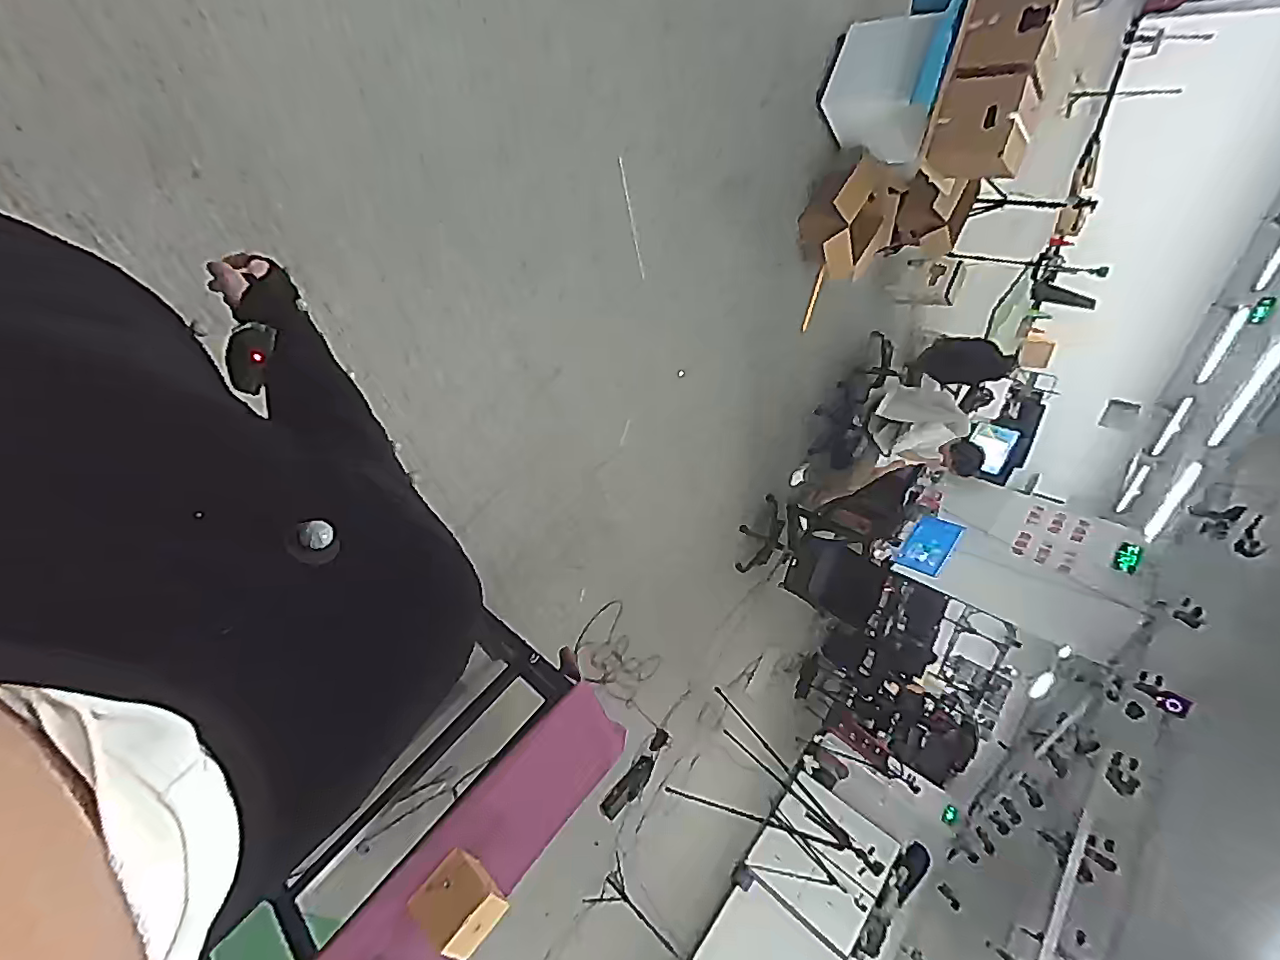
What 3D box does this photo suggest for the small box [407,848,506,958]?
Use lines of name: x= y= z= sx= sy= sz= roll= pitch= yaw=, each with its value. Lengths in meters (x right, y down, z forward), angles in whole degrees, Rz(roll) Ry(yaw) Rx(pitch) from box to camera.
small box: x=-0.511 y=1.176 z=1.510 sx=0.168 sy=0.176 sz=0.179 roll=-42 pitch=140 yaw=-28
